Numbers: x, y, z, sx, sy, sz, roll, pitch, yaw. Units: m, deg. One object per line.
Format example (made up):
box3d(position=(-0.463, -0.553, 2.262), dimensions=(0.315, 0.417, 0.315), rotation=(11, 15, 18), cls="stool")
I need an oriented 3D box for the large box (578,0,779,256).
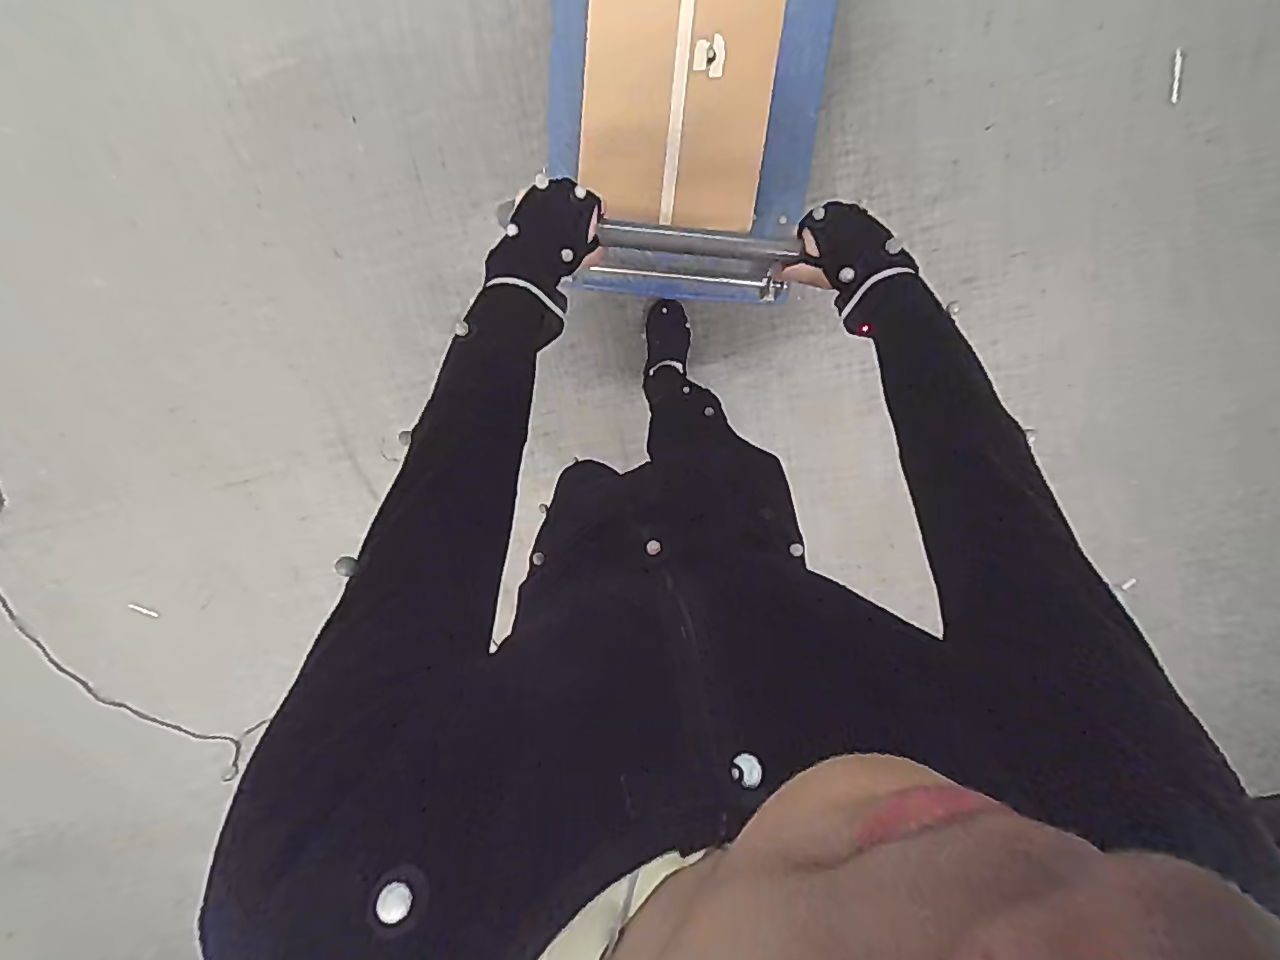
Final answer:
box3d(position=(0.060, -0.675, 1.049), dimensions=(0.320, 0.320, 0.408), rotation=(5, 107, -2), cls="large box")
